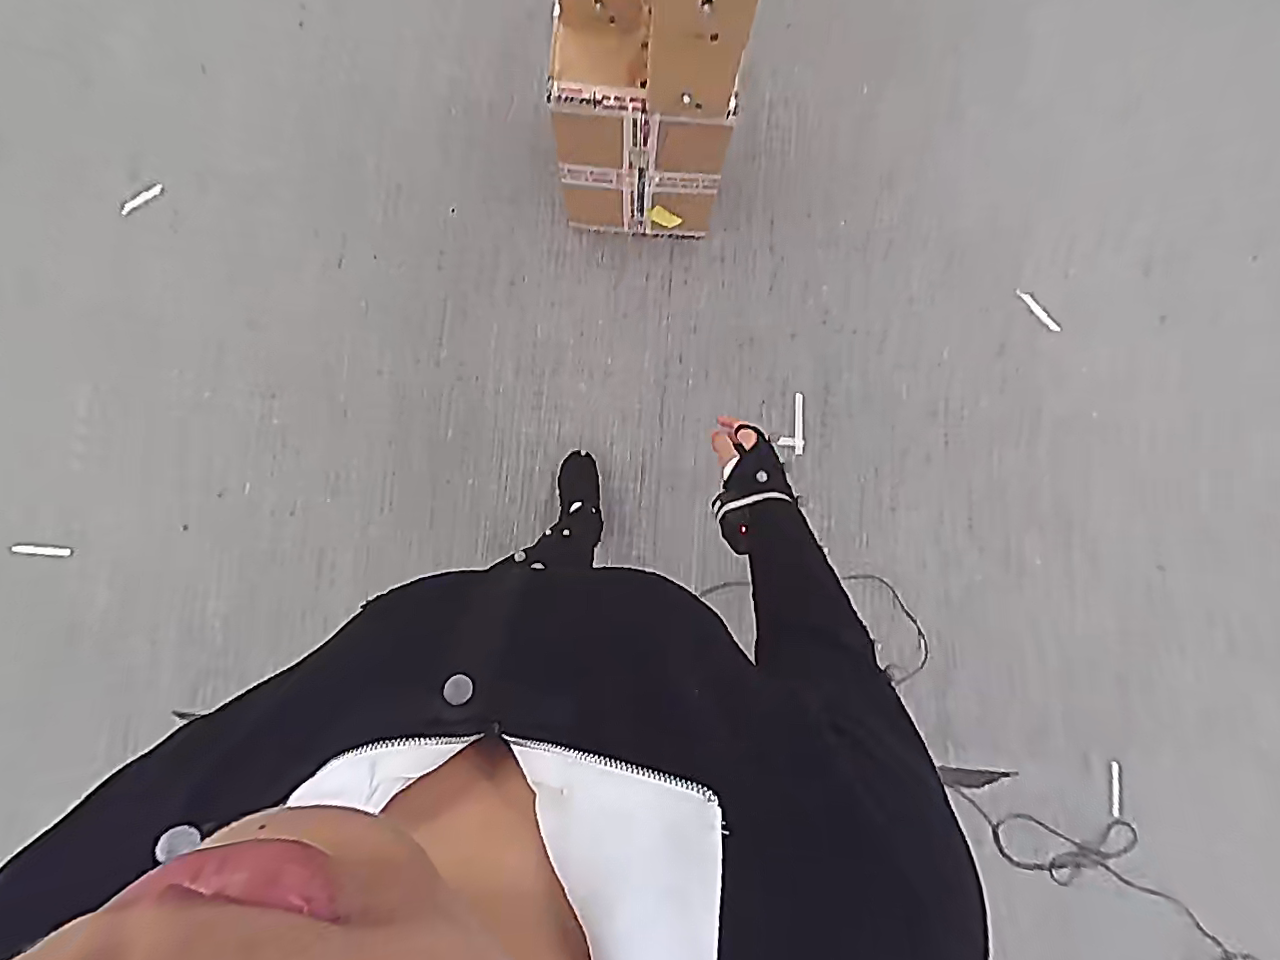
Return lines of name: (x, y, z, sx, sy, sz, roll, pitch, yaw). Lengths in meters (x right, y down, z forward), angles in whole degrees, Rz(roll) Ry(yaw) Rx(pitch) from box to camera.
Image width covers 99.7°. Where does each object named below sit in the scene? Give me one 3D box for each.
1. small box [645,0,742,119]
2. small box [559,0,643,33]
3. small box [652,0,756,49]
small box: (0.097, -0.828, 1.020, 0.168, 0.176, 0.179, 2, 87, -1)
small box: (-0.075, -1.011, 1.029, 0.168, 0.176, 0.179, 3, 87, 0)
small box: (0.108, -0.833, 0.856, 0.168, 0.176, 0.179, 3, 87, -1)
